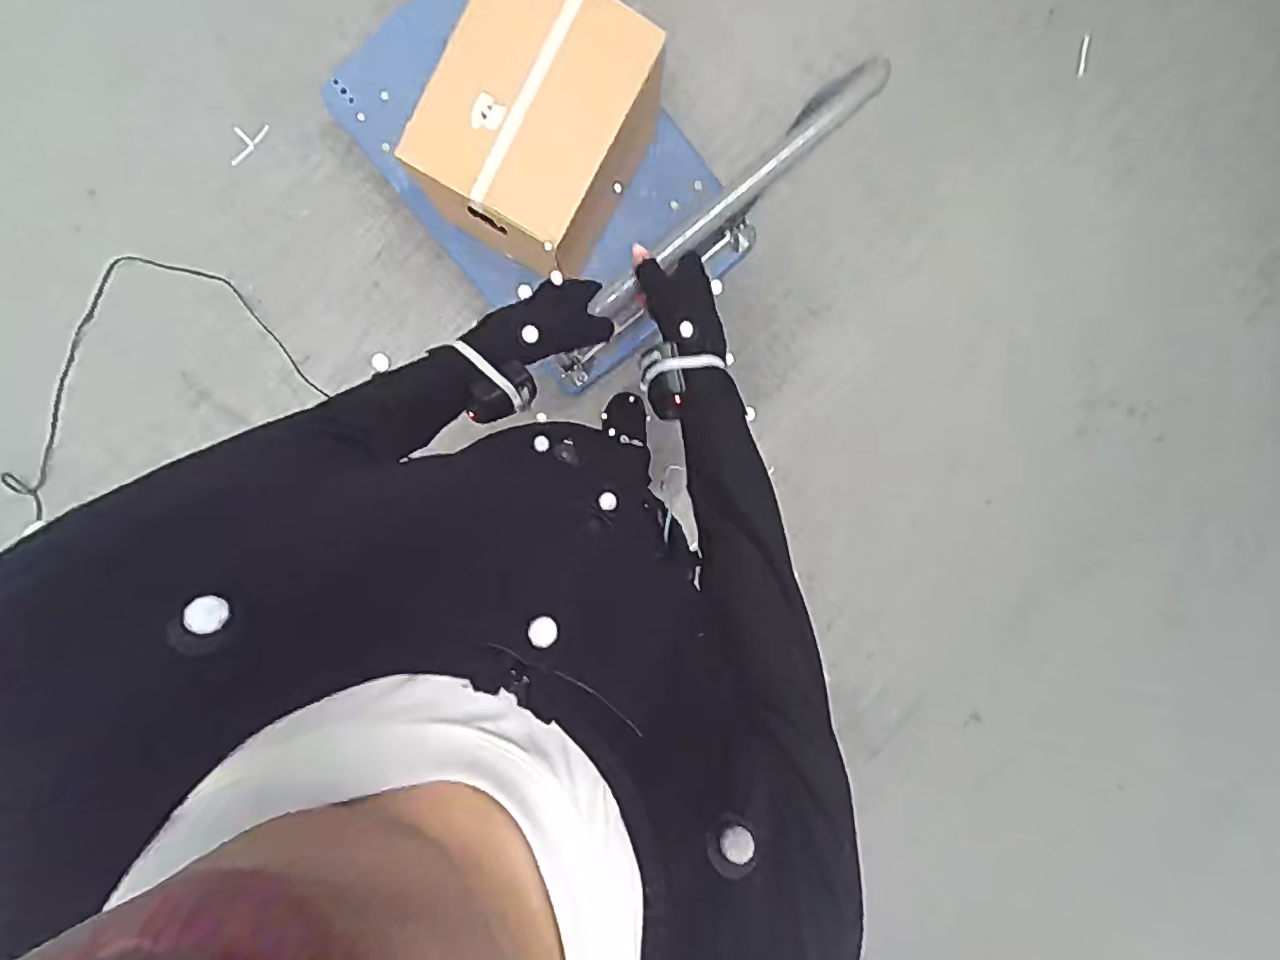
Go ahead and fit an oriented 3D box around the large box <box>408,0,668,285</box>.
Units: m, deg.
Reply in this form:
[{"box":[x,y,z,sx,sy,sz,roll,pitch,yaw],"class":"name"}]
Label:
[{"box":[-0.180,-0.672,1.070,0.320,0.320,0.408,29,95,-4],"class":"large box"}]
